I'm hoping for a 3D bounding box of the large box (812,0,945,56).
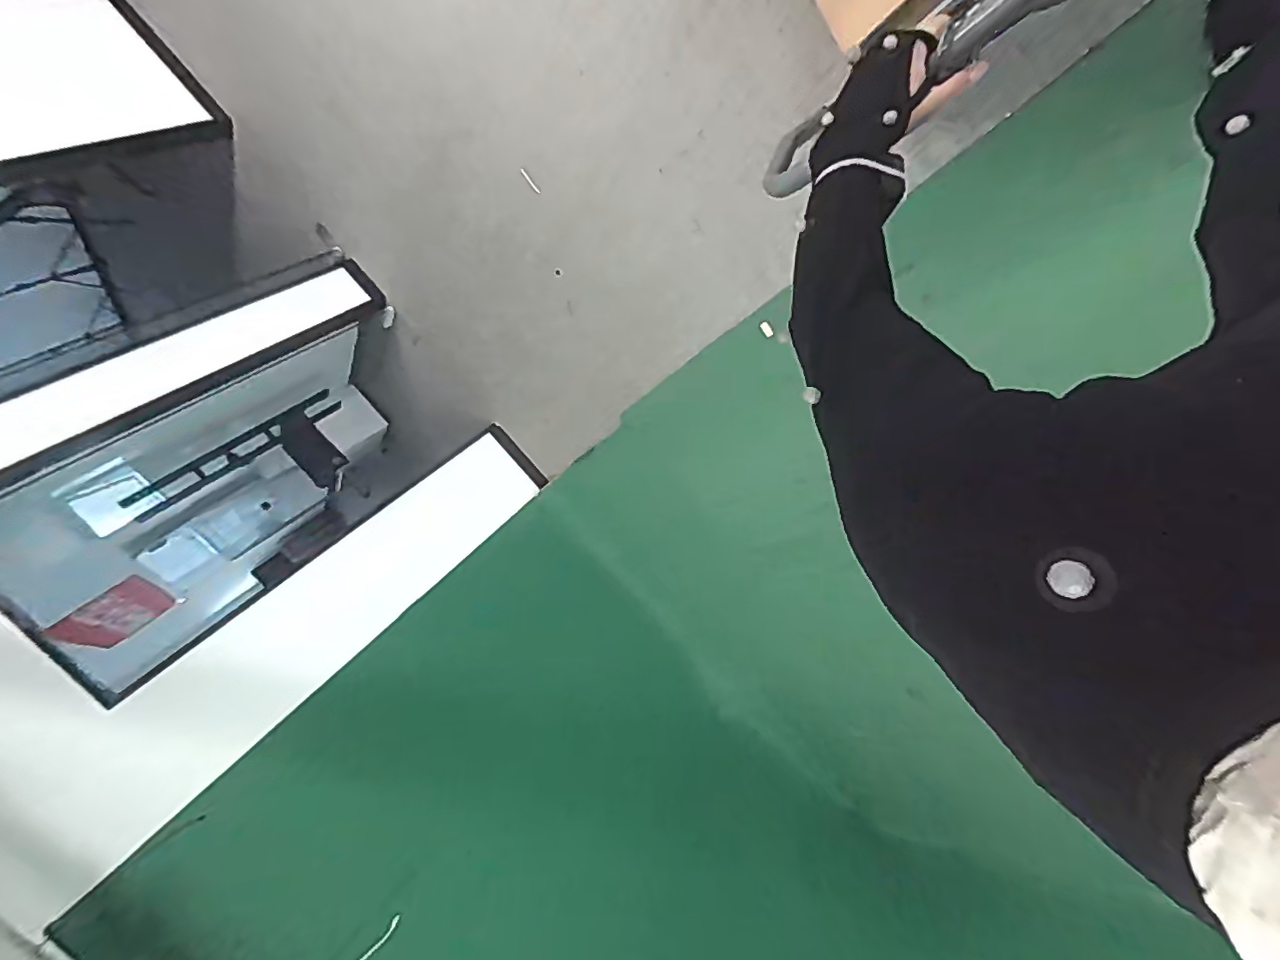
[{"bbox_3d":[0.392,-0.953,0.799,0.320,0.320,0.408,-20,110,51],"label":"large box"}]
